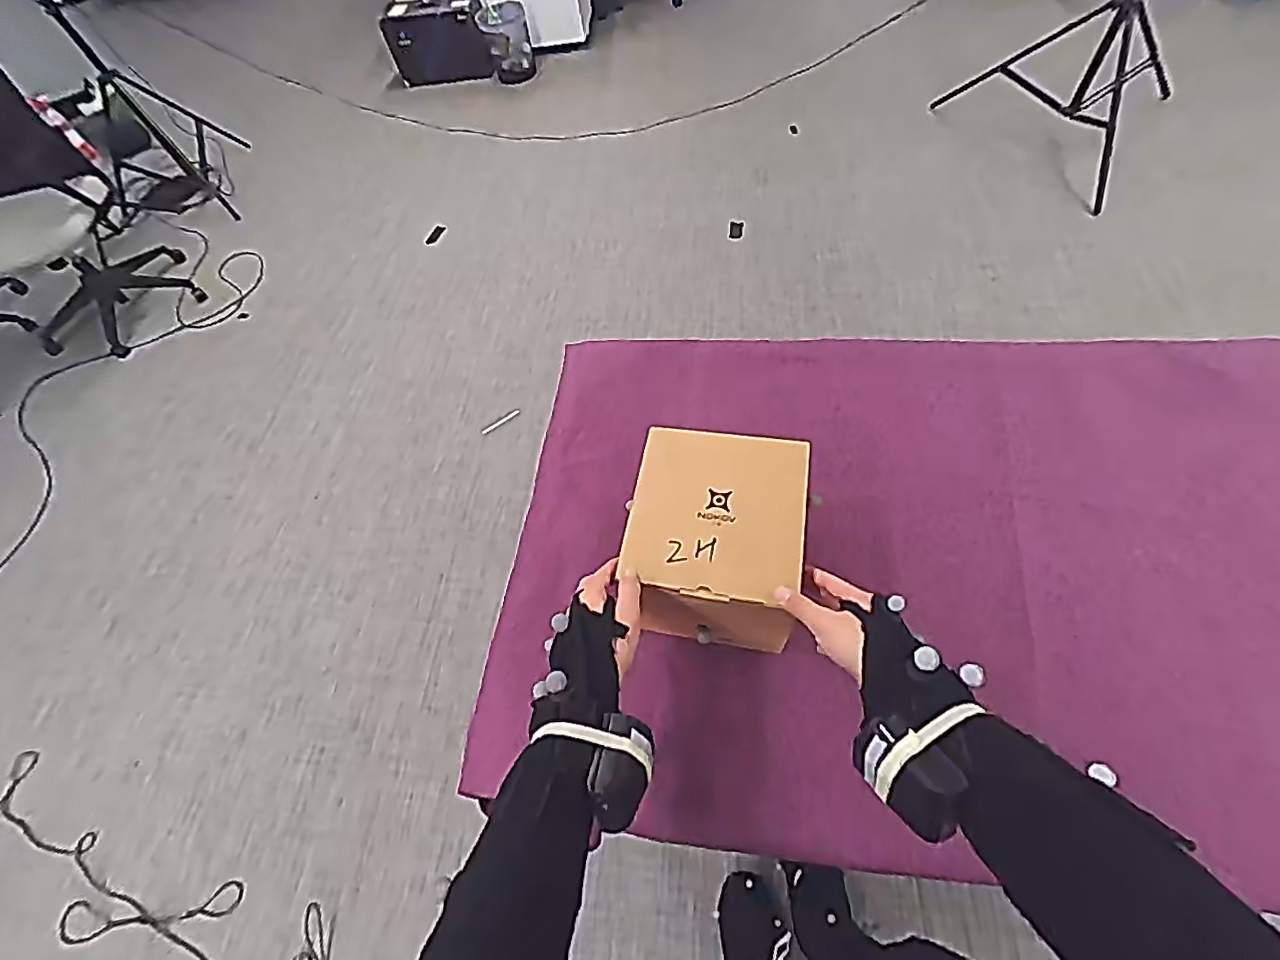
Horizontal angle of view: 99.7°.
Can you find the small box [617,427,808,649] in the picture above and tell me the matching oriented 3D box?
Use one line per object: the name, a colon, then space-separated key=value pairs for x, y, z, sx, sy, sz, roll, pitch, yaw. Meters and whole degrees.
small box: x=0.082 y=0.067 z=0.591 sx=0.168 sy=0.176 sz=0.179 roll=7 pitch=61 yaw=12
